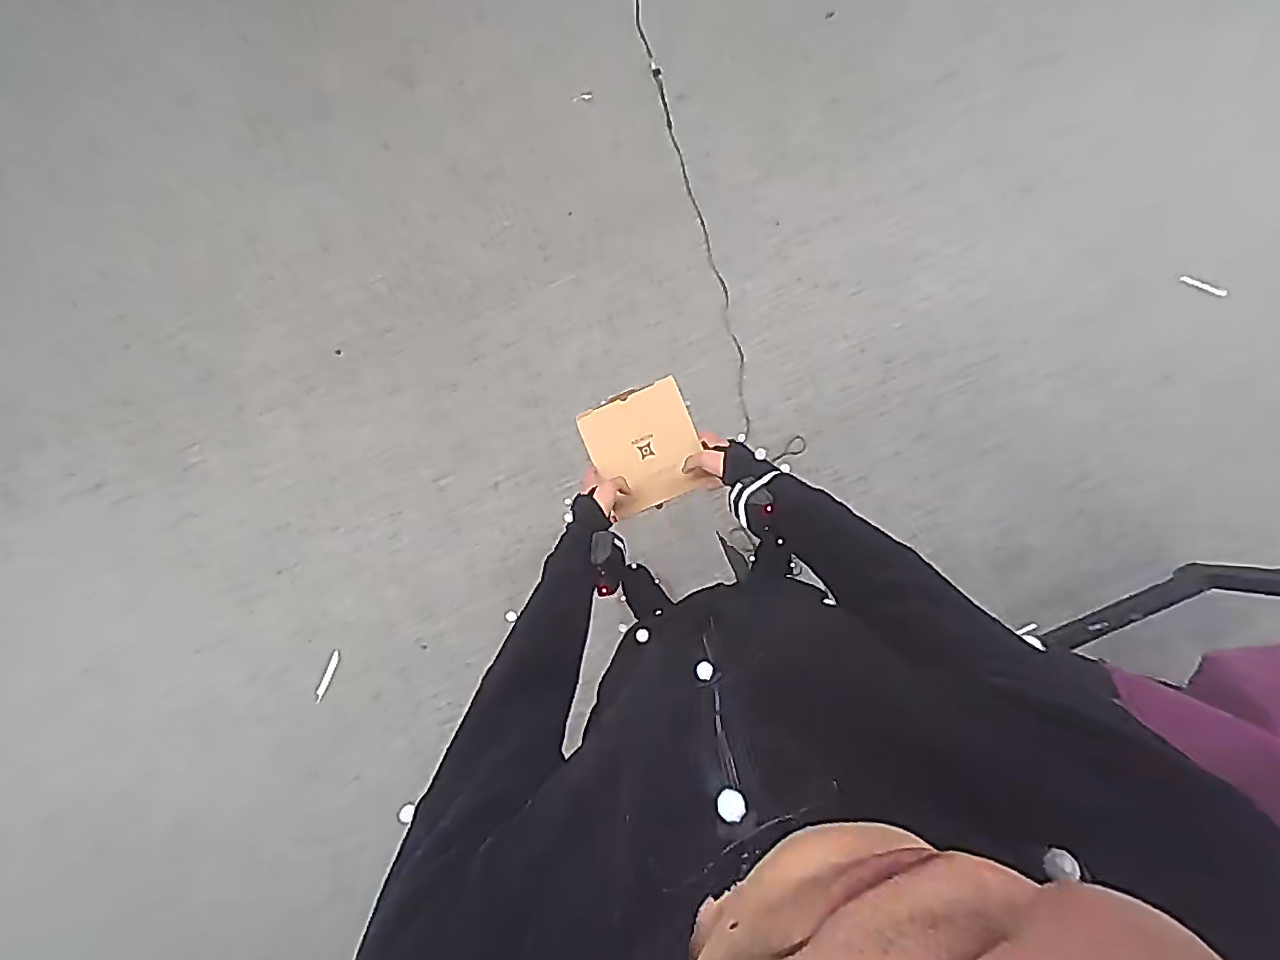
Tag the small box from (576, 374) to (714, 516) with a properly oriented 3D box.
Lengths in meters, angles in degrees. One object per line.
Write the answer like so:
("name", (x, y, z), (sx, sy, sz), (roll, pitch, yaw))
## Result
("small box", (0.008, -0.054, 0.900), (0.168, 0.176, 0.179), (-23, 91, 3))
